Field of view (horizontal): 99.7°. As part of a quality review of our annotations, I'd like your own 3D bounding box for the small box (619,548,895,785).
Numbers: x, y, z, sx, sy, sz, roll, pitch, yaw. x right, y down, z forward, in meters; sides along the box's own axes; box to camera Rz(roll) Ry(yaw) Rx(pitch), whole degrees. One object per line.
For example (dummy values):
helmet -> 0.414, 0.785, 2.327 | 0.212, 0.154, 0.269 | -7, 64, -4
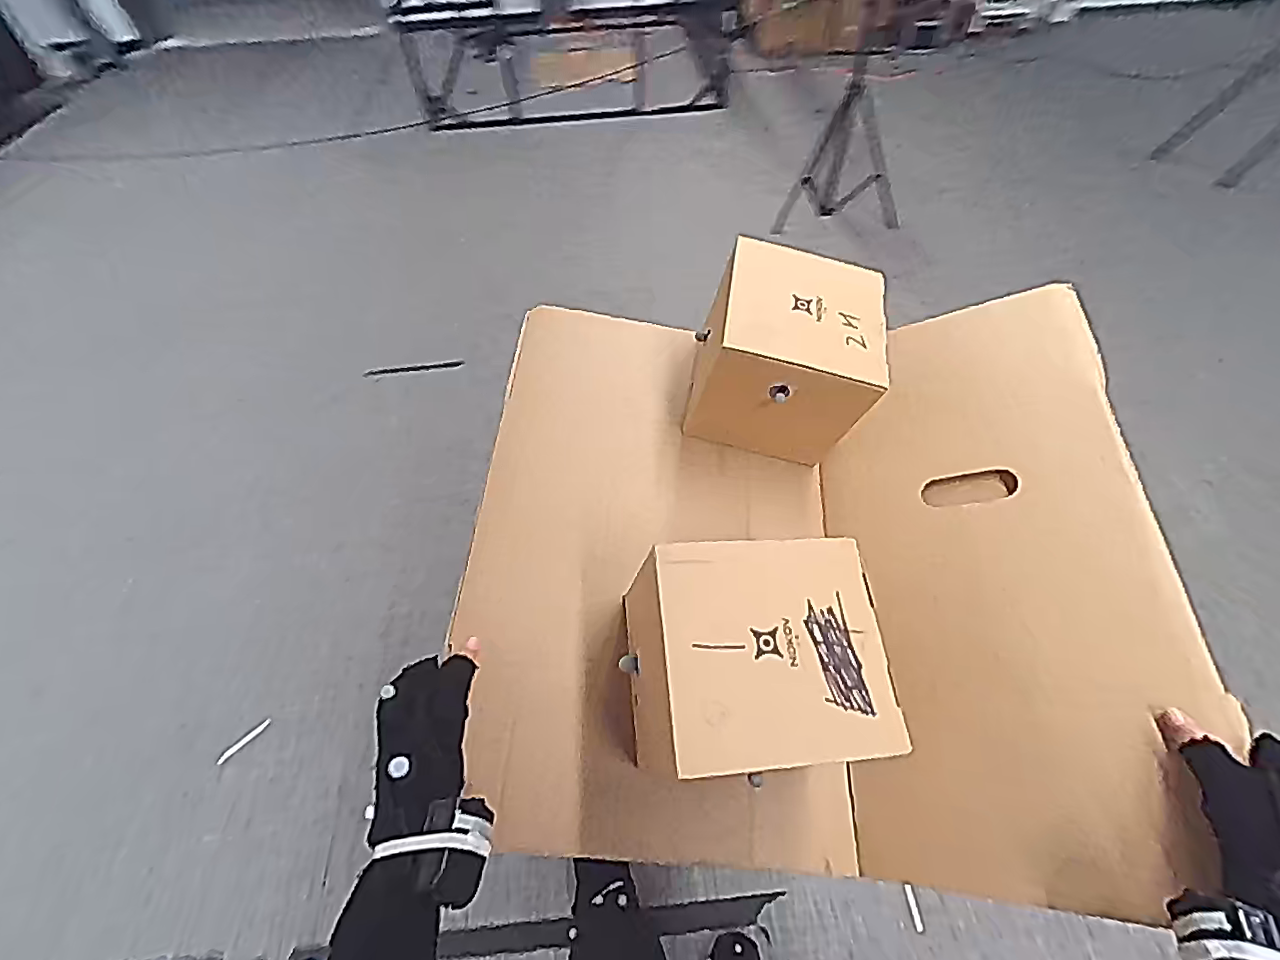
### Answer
small box -> 0.083, 0.167, 0.485 | 0.179, 0.176, 0.168 | -1, 64, -11
